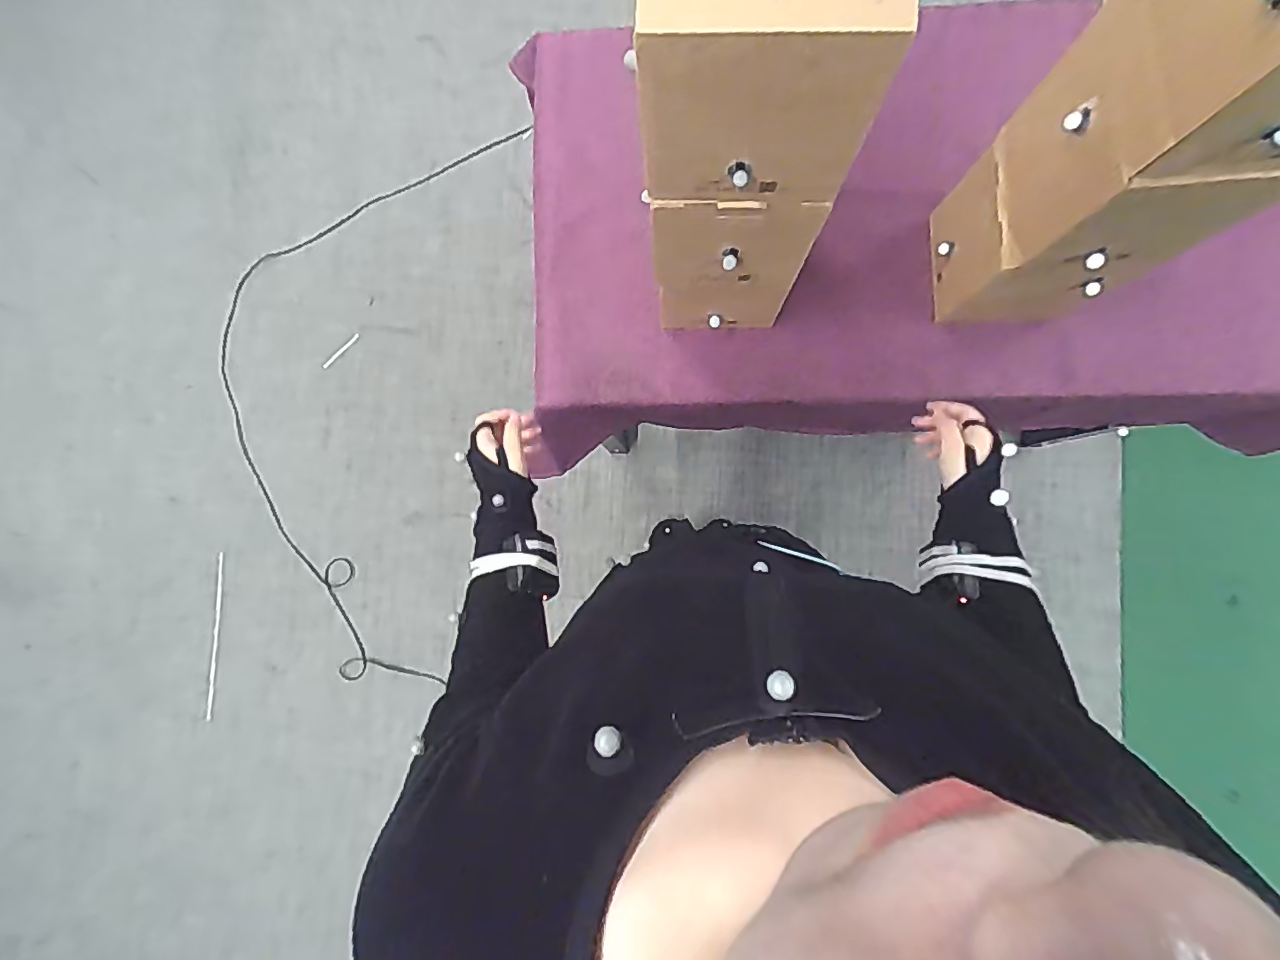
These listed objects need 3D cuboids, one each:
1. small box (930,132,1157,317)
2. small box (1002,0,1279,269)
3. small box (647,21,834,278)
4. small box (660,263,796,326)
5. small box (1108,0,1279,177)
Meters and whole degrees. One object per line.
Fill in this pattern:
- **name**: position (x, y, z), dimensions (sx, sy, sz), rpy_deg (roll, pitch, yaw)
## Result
- **small box**: position (0.510, -0.323, 0.707), dimensions (0.179, 0.176, 0.168), rpy_deg (-1, 85, 4)
- **small box**: position (0.498, -0.337, 0.545), dimensions (0.168, 0.176, 0.179), rpy_deg (-2, 87, 5)
- **small box**: position (0.097, -0.328, 0.572), dimensions (0.168, 0.176, 0.179), rpy_deg (2, 87, 4)
- **small box**: position (0.112, -0.325, 0.735), dimensions (0.168, 0.176, 0.179), rpy_deg (1, 87, 4)
- **small box**: position (0.483, -0.354, 0.384), dimensions (0.168, 0.176, 0.179), rpy_deg (-4, 87, 4)
